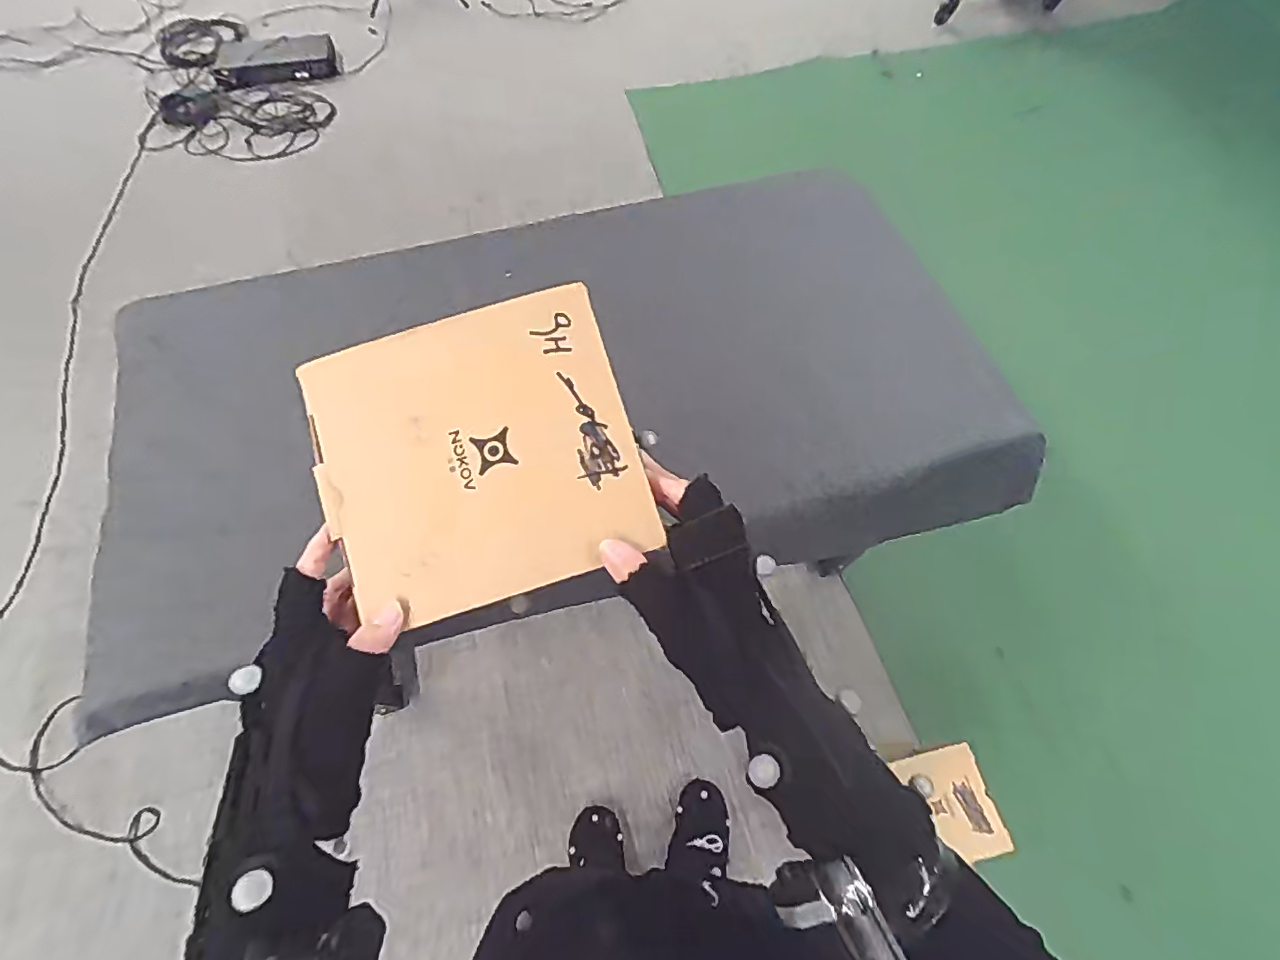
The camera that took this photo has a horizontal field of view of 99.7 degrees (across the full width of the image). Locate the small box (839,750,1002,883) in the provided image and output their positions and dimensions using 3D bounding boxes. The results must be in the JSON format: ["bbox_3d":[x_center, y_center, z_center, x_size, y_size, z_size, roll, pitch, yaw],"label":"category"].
[{"bbox_3d":[0.492,0.594,0.979,0.179,0.176,0.168,-11,64,-6],"label":"small box"}]

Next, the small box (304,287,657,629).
[{"bbox_3d":[-0.092,-0.005,0.385,0.179,0.176,0.168,-15,83,-2],"label":"small box"}]

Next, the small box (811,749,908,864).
[{"bbox_3d":[0.485,0.668,1.126,0.179,0.176,0.168,-11,64,-5],"label":"small box"}]
